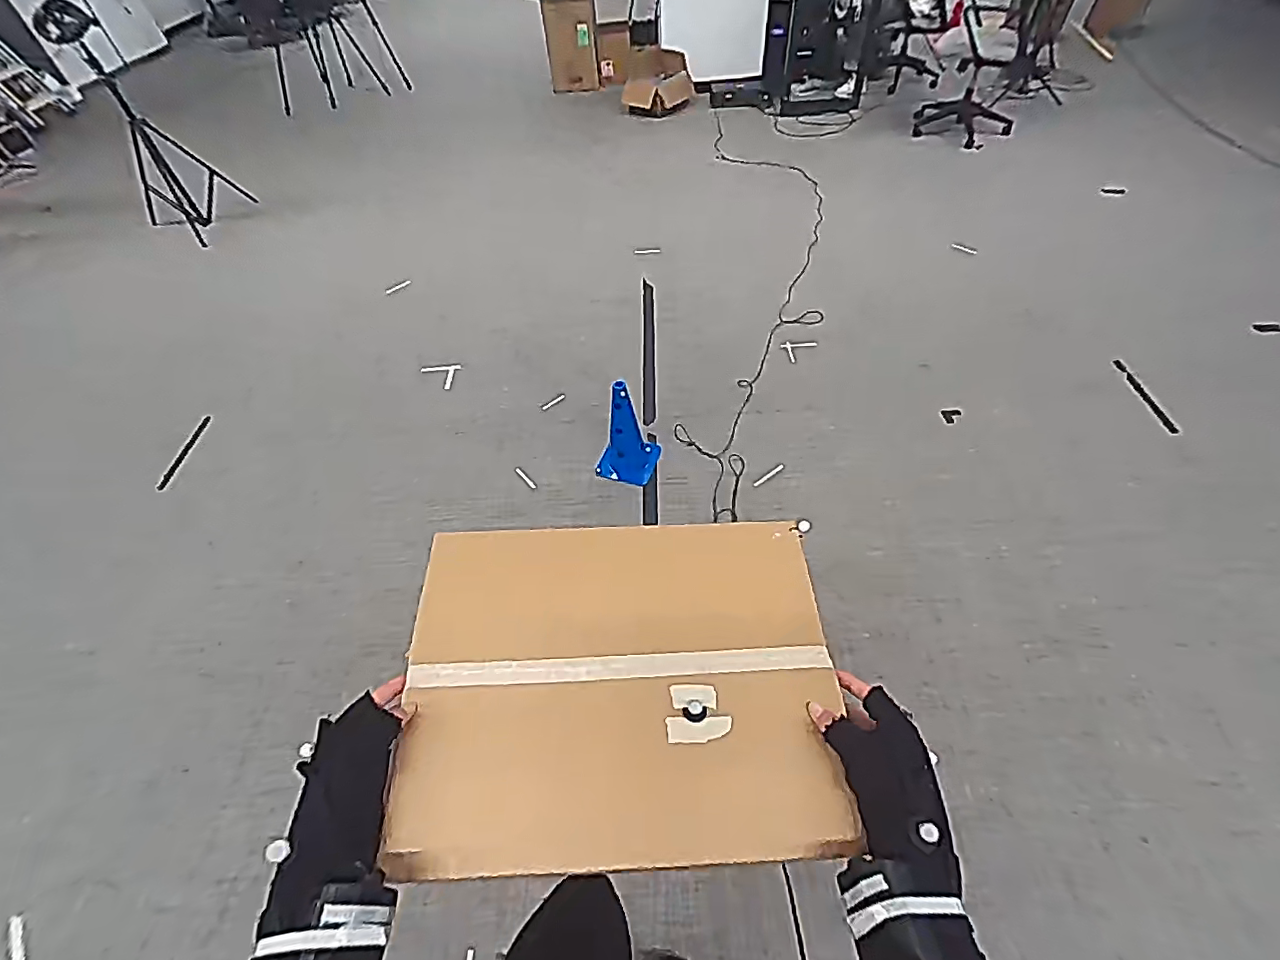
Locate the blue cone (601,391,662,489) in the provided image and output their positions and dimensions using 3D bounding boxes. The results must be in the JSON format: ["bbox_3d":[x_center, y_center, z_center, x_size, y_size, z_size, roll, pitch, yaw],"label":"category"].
[{"bbox_3d":[-0.042,-0.160,1.843,0.193,0.380,0.192,14,53,17],"label":"blue cone"}]

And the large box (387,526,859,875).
[{"bbox_3d":[-0.021,0.273,0.653,0.408,0.320,0.320,-2,54,-2],"label":"large box"}]
